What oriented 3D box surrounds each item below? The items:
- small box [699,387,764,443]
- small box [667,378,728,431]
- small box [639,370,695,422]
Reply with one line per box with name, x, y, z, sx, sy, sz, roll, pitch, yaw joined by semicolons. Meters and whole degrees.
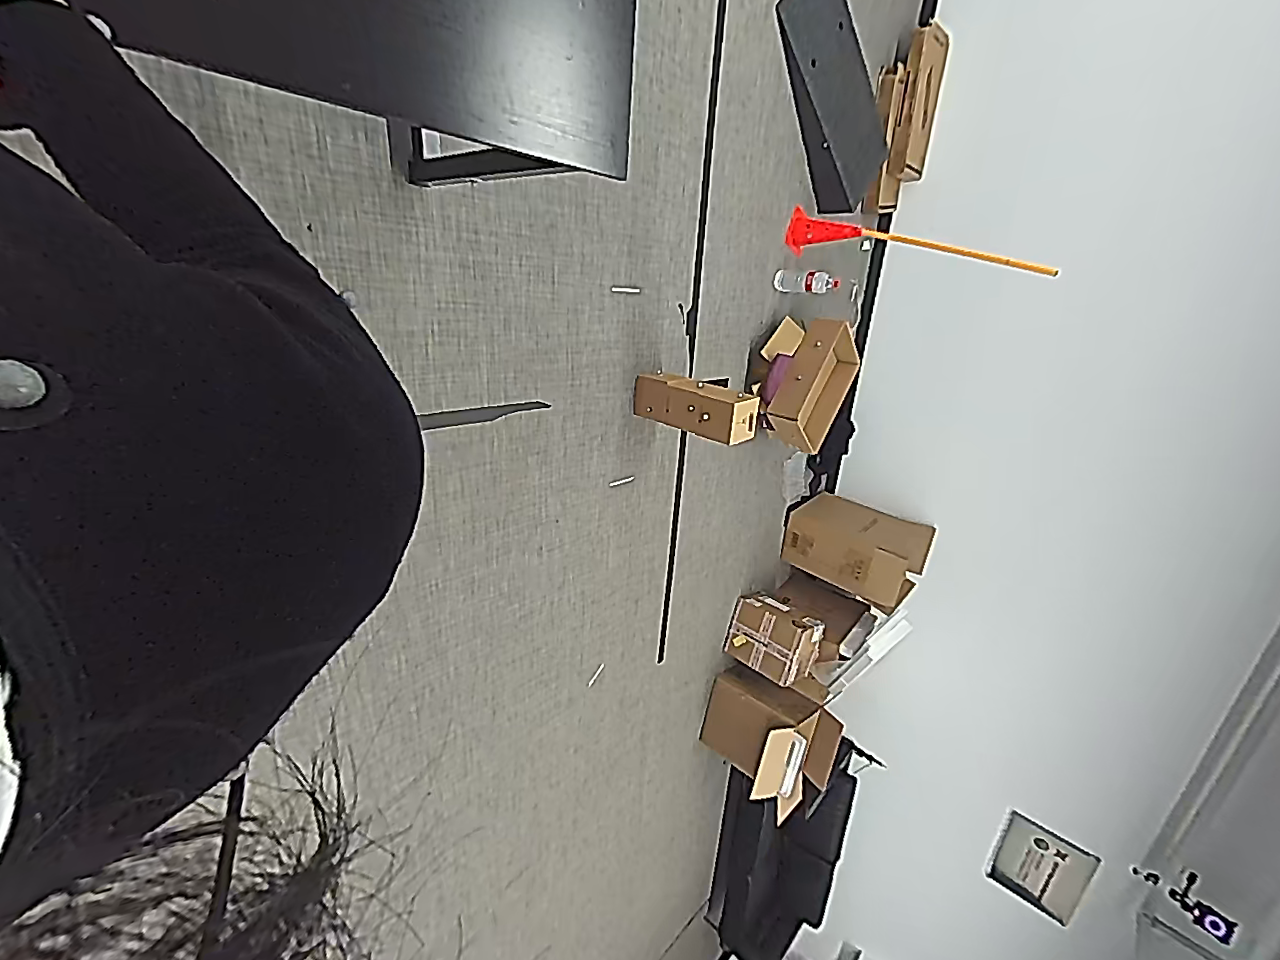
small box;0.351;-0.255;2.076;0.179;0.176;0.168;-20;122;-43
small box;0.230;-0.308;2.176;0.179;0.176;0.168;-21;122;-44
small box;0.111;-0.358;2.278;0.168;0.176;0.179;-19;119;-45
